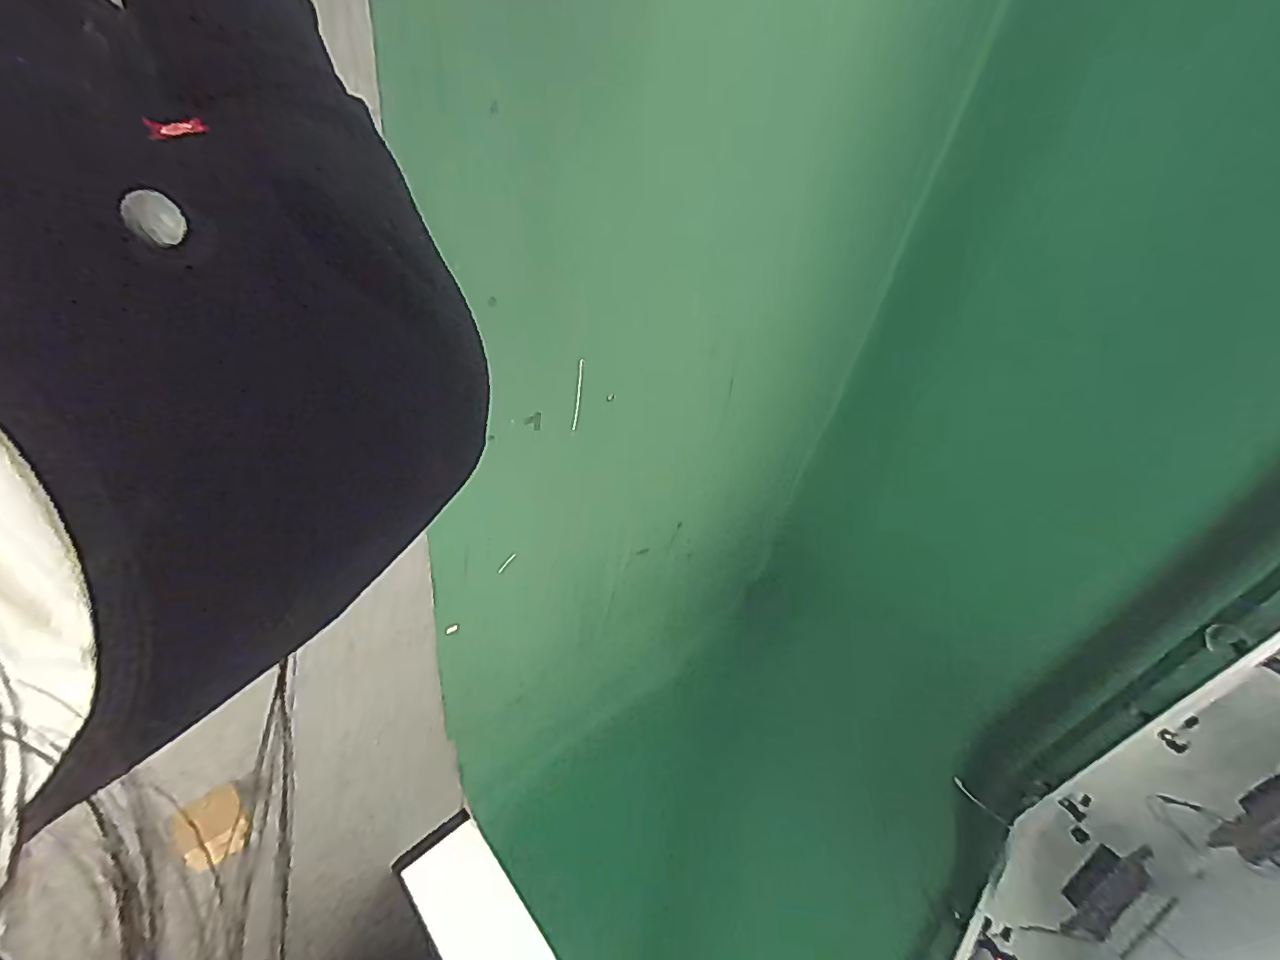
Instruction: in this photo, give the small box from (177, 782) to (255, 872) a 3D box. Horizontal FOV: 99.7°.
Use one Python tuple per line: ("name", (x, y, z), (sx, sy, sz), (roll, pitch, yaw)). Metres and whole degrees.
("small box", (-1.509, 1.228, 1.920), (0.179, 0.176, 0.168), (-23, 139, -40))
